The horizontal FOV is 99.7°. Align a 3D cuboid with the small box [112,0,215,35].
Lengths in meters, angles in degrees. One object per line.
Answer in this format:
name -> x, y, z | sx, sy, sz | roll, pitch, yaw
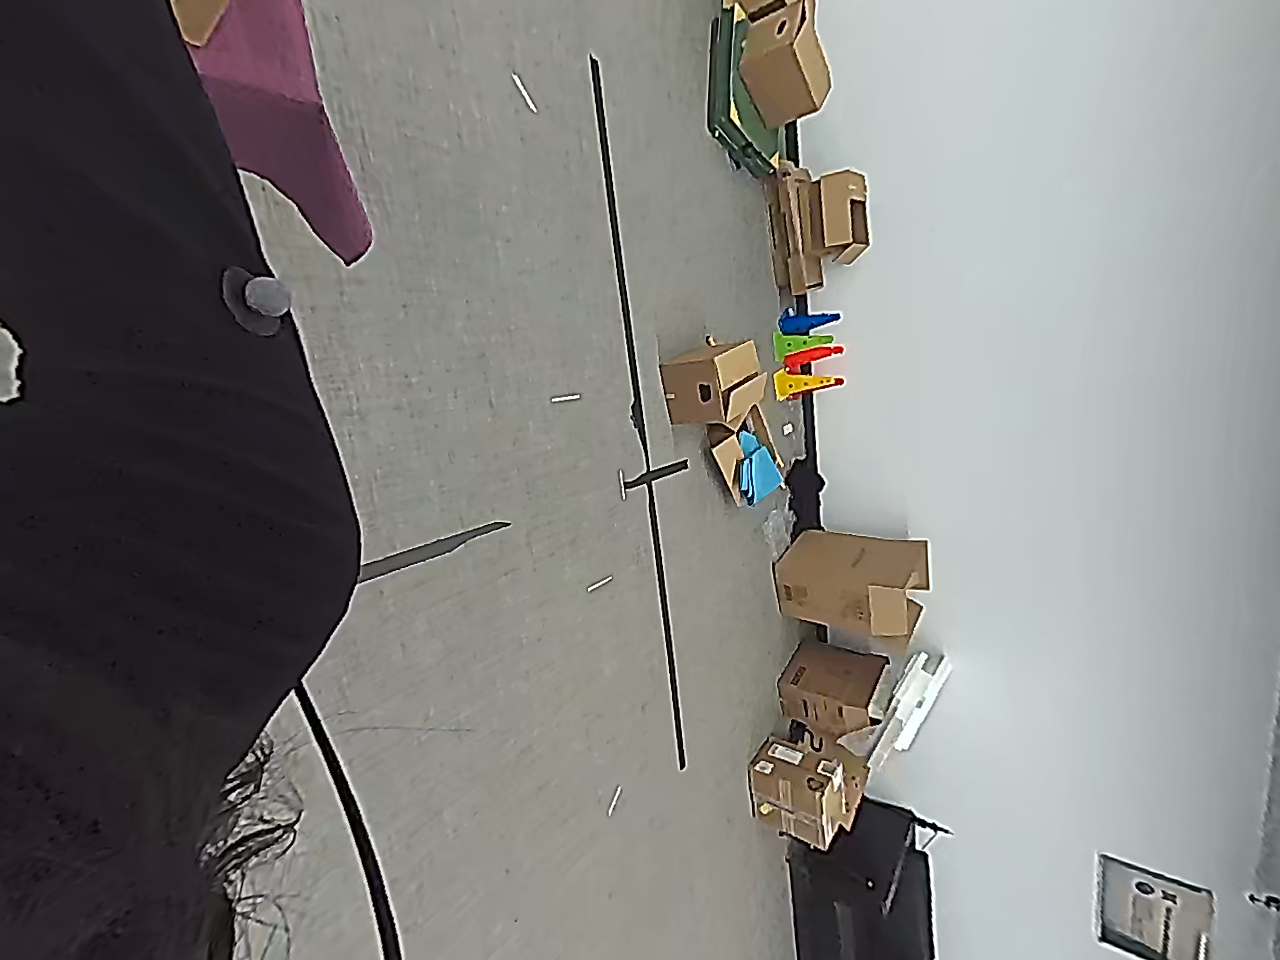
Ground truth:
small box -> -0.523, -0.601, 0.531 | 0.168, 0.176, 0.179 | -8, 97, -52
